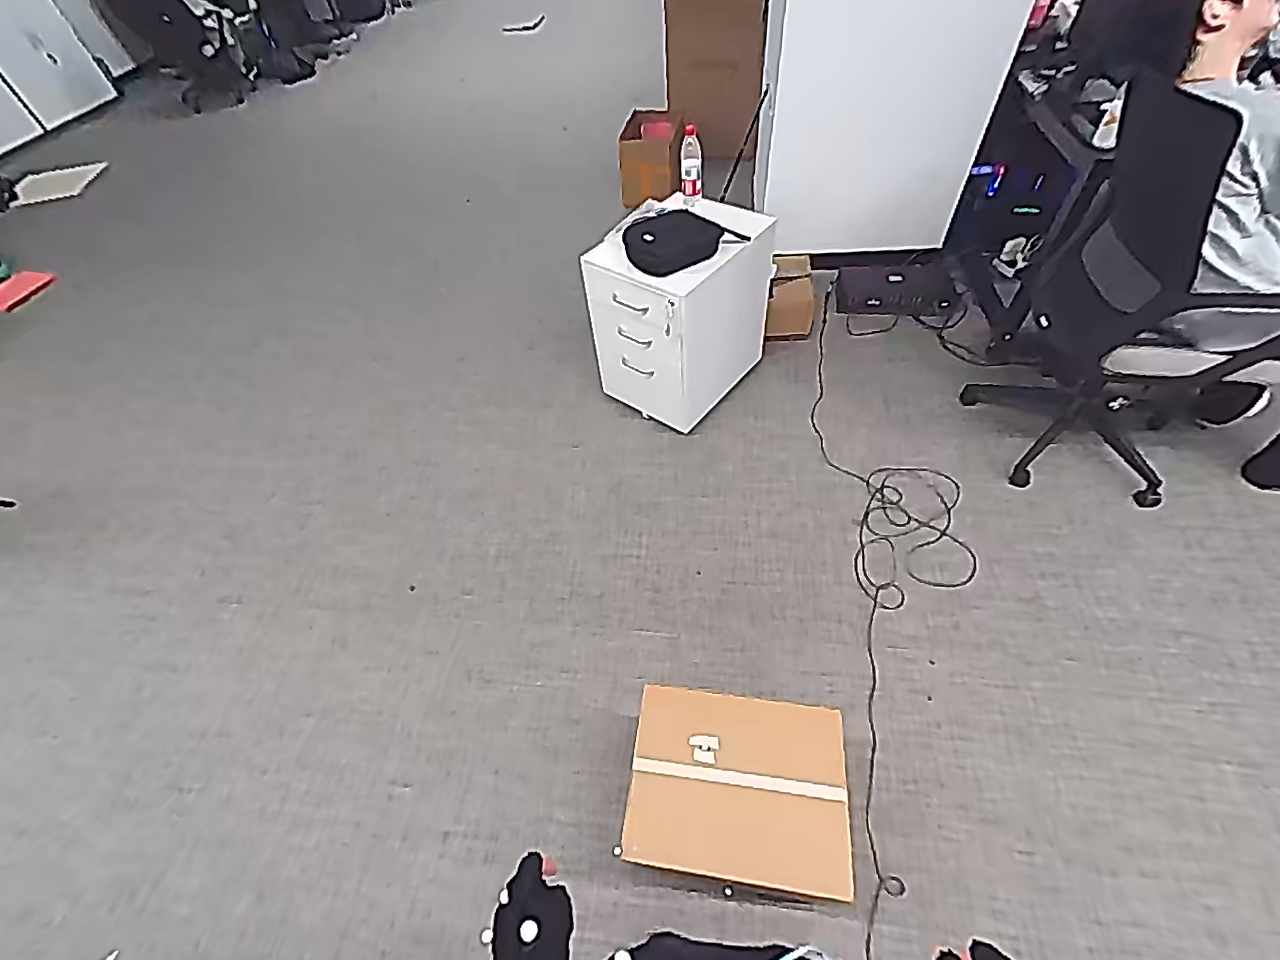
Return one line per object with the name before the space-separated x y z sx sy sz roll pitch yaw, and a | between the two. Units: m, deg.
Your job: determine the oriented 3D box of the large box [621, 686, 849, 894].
large box | 0.196 0.662 1.153 0.408 0.320 0.320 4 52 10
